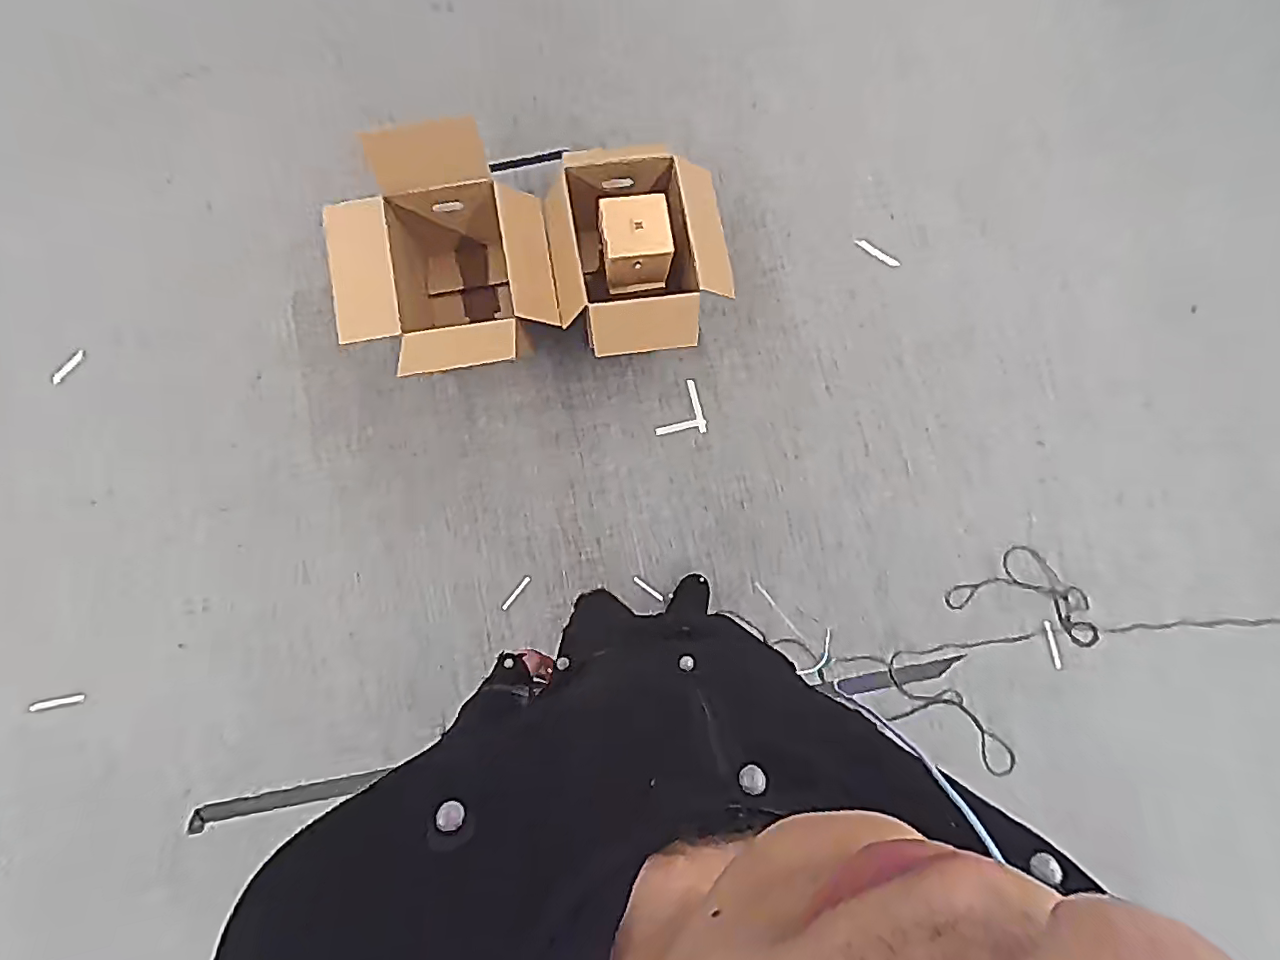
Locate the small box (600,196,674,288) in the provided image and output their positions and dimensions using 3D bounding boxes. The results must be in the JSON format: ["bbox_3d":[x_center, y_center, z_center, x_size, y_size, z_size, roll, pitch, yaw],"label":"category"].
[{"bbox_3d":[-0.014,-0.646,1.483,0.179,0.176,0.168,-8,85,-5],"label":"small box"}]
